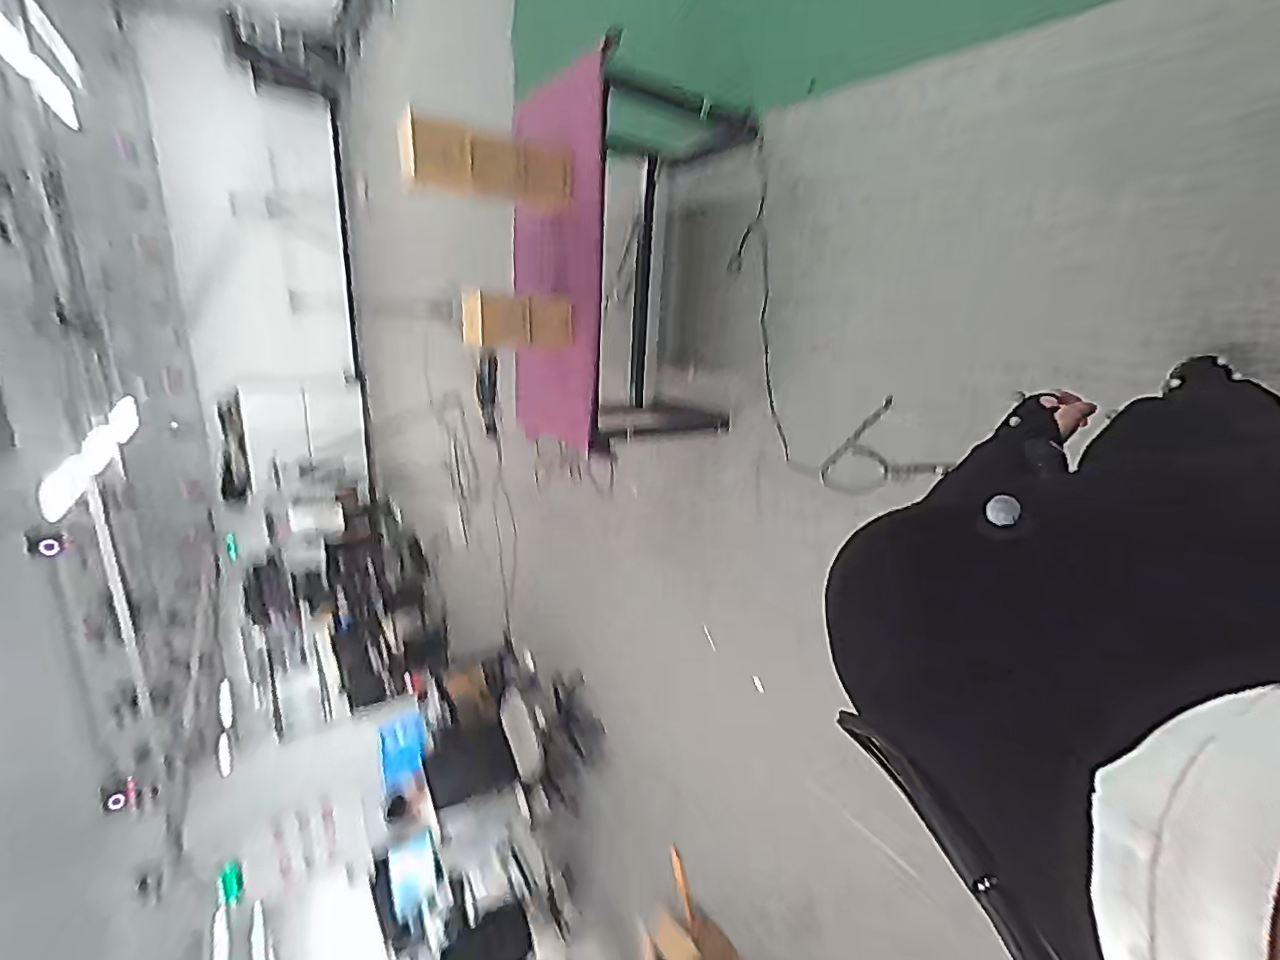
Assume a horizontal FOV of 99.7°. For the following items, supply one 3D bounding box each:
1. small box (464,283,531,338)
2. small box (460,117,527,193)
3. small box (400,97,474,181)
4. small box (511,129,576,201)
[{"bbox_3d":[-0.468,-0.559,1.787,0.179,0.176,0.168,23,115,51],"label":"small box"},{"bbox_3d":[-0.457,-1.002,1.680,0.179,0.176,0.168,29,121,52],"label":"small box"},{"bbox_3d":[-0.591,-0.993,1.589,0.179,0.176,0.168,26,120,53],"label":"small box"},{"bbox_3d":[-0.324,-1.025,1.773,0.179,0.176,0.168,28,121,50],"label":"small box"}]
